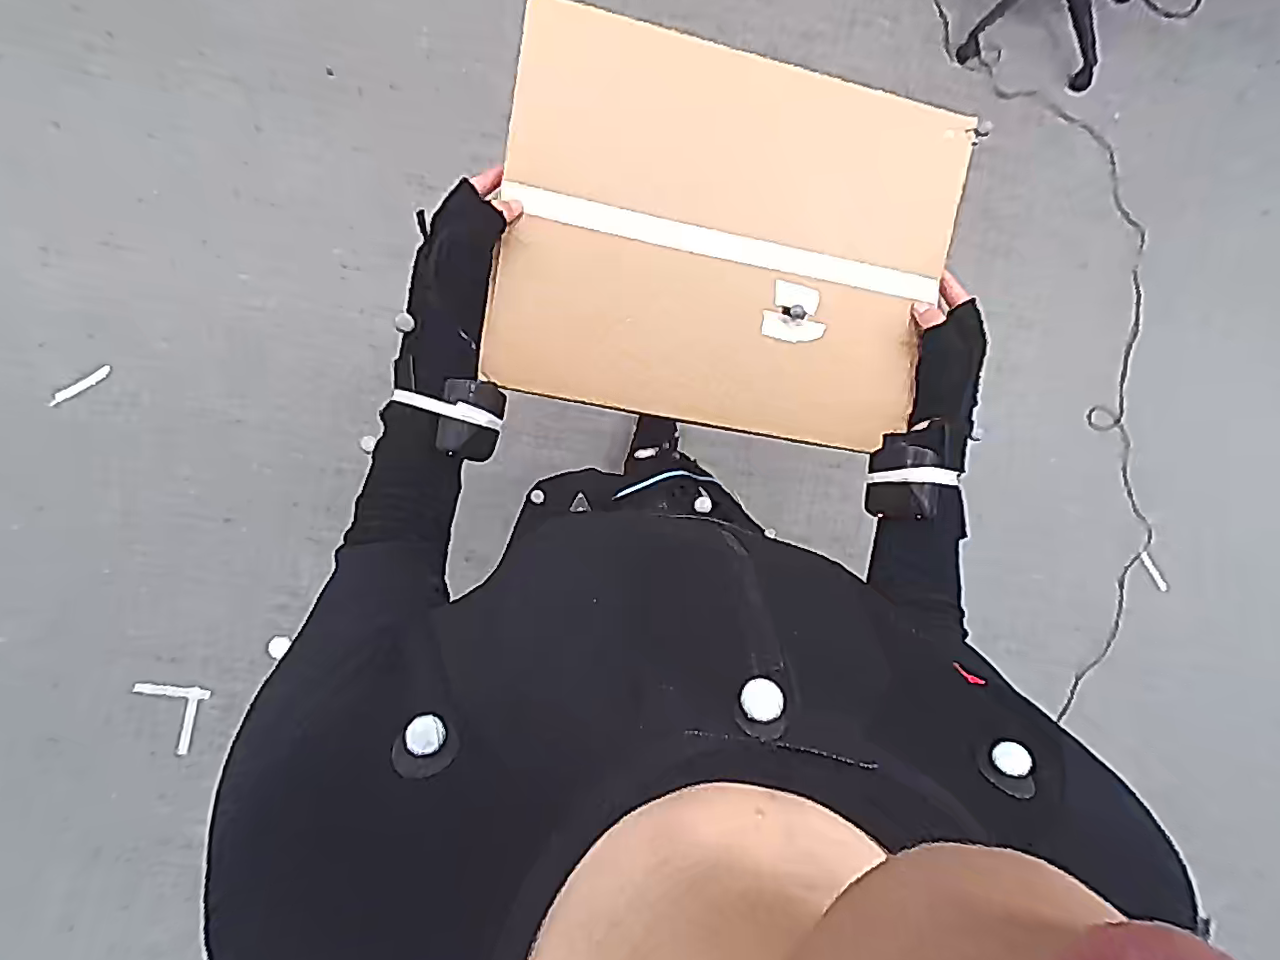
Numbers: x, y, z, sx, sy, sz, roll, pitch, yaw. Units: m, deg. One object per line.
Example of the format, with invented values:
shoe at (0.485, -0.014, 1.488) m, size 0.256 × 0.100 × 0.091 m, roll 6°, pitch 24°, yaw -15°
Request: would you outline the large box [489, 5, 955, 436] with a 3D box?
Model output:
large box at (0.057, -0.240, 0.637) m, size 0.408 × 0.320 × 0.320 m, roll 8°, pitch 98°, yaw -9°
